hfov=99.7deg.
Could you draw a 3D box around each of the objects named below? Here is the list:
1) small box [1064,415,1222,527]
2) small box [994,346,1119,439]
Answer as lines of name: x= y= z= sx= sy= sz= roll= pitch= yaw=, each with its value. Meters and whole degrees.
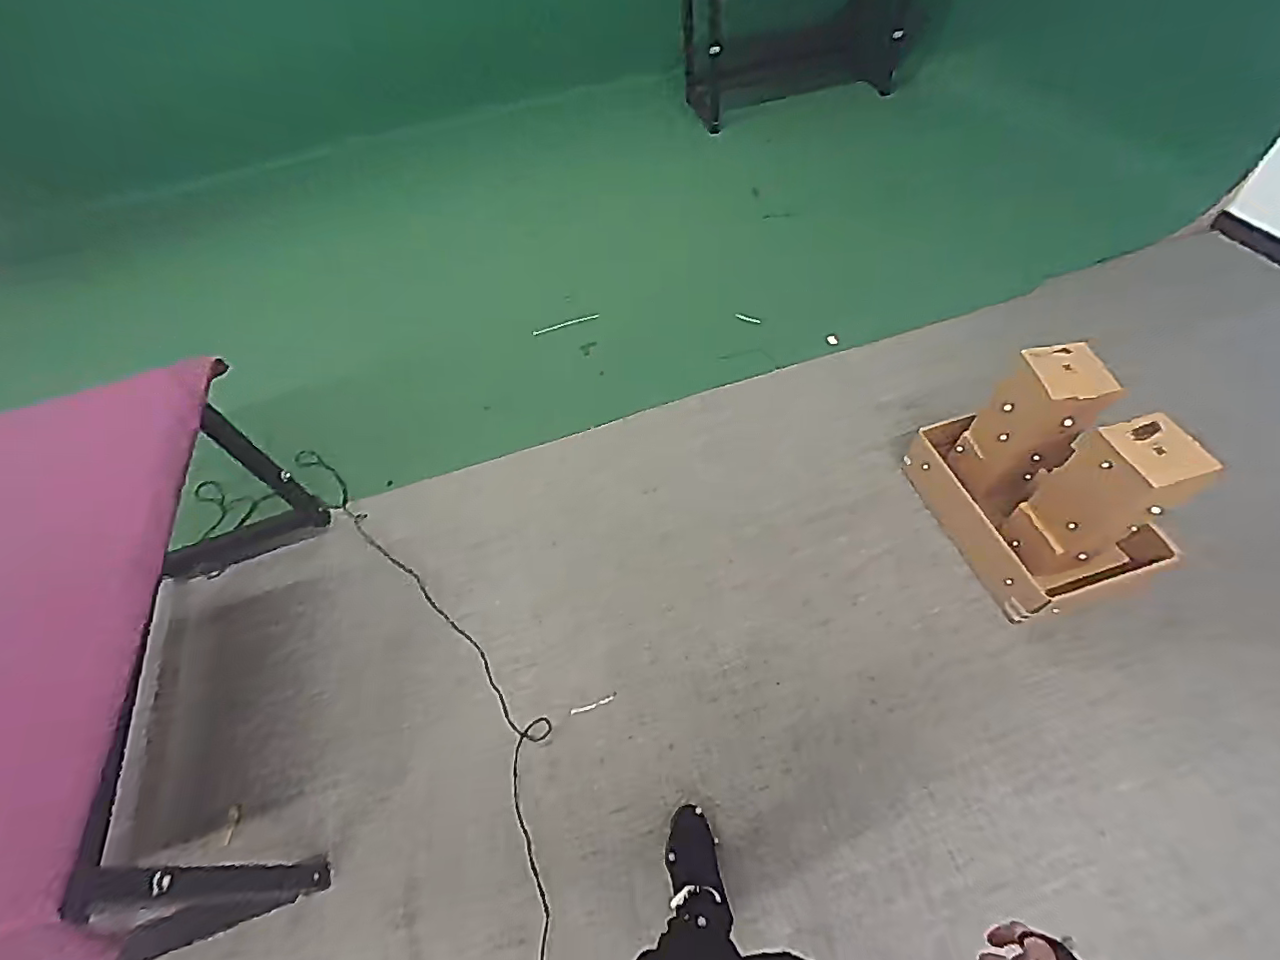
small box: x=1.157 y=-0.018 z=1.265 sx=0.168 sy=0.176 sz=0.179 roll=-16 pitch=55 yaw=-3
small box: x=1.074 y=-0.220 z=1.413 sx=0.168 sy=0.176 sz=0.179 roll=-6 pitch=57 yaw=2
